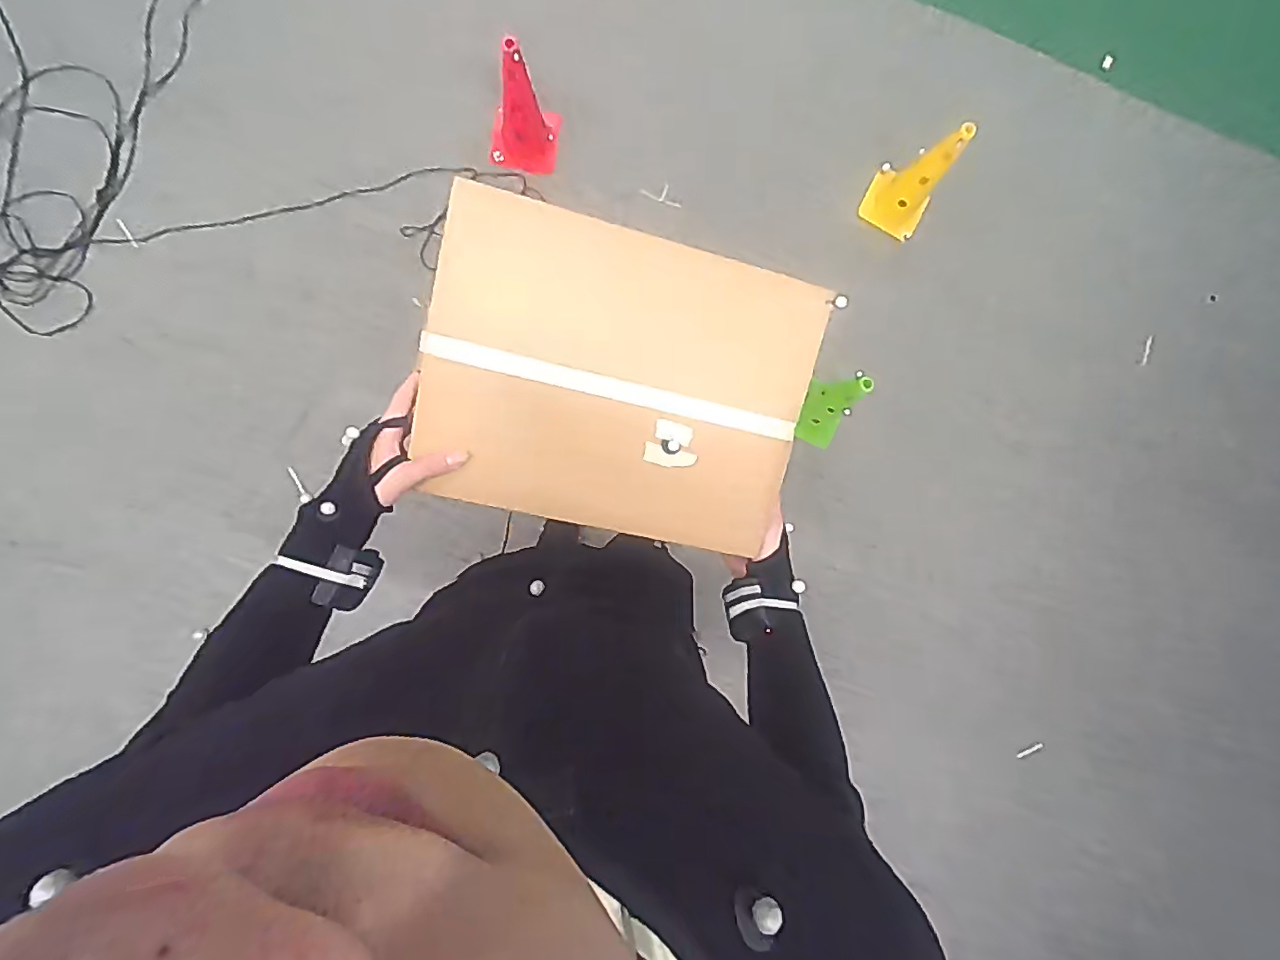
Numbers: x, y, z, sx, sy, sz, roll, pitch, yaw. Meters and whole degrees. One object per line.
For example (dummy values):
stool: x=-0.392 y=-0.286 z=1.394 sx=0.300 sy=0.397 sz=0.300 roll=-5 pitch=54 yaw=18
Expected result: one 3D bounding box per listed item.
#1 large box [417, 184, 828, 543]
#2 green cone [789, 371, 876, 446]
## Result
large box: x=-0.039 y=-0.137 z=0.728 sx=0.408 sy=0.320 sz=0.320 roll=12 pitch=102 yaw=-11
green cone: x=0.566 y=-0.241 z=1.557 sx=0.200 sy=0.368 sz=0.202 roll=25 pitch=84 yaw=-4
